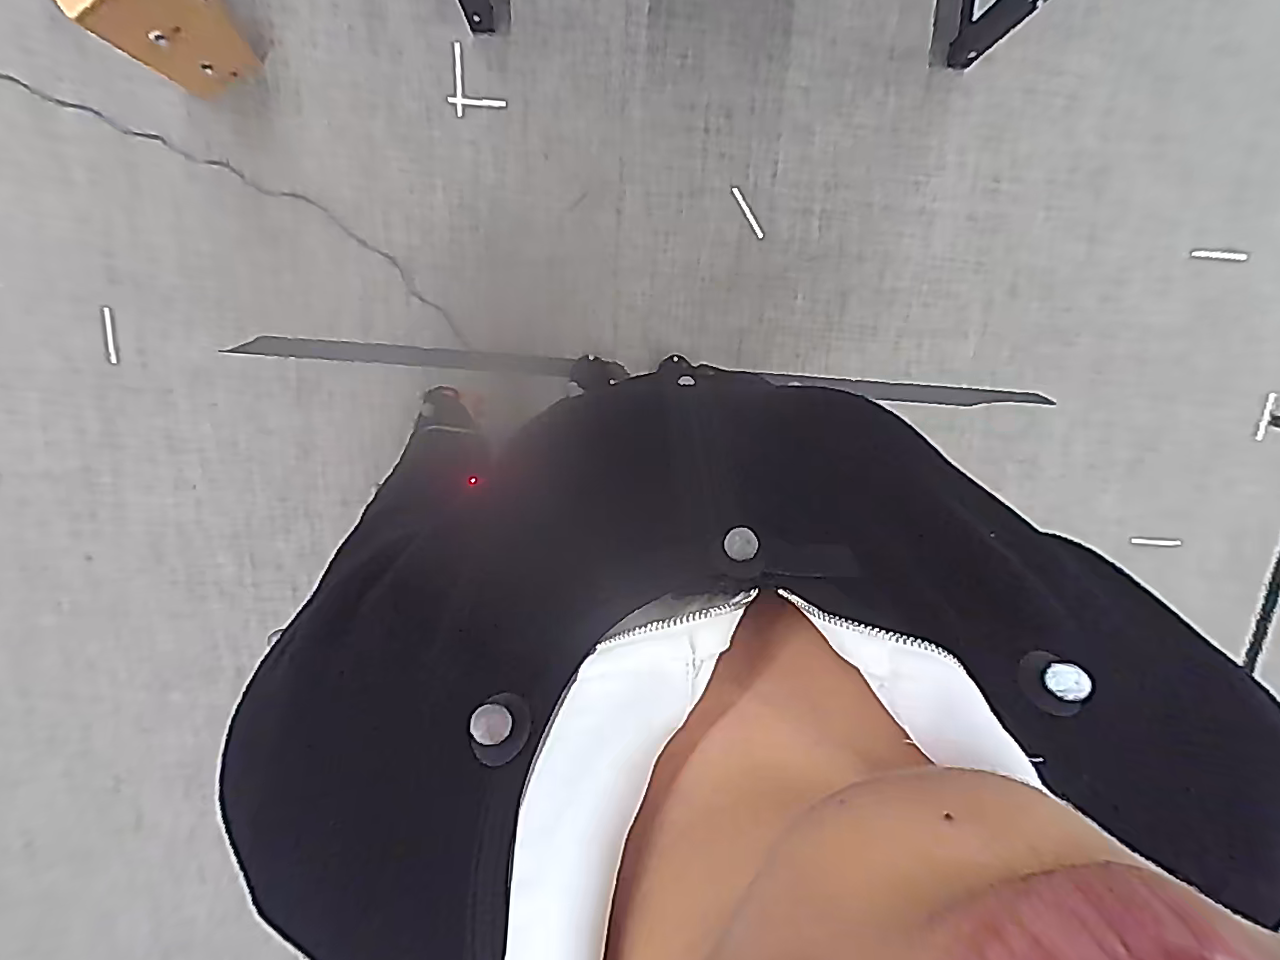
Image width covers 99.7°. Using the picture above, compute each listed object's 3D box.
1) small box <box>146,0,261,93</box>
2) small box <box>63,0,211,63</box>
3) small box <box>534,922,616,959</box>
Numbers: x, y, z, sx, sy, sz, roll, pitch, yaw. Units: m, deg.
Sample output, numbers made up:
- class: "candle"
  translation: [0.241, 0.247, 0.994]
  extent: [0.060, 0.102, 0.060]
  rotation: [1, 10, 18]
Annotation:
- class: "small box"
  translation: [-0.973, -0.977, 1.159]
  extent: [0.168, 0.176, 0.179]
  rotation: [-29, 102, 3]
- class: "small box"
  translation: [-0.968, -0.938, 1.000]
  extent: [0.168, 0.176, 0.179]
  rotation: [-33, 103, 6]
- class: "small box"
  translation: [-0.143, 1.114, 1.178]
  extent: [0.179, 0.176, 0.168]
  rotation: [-5, 99, 0]
